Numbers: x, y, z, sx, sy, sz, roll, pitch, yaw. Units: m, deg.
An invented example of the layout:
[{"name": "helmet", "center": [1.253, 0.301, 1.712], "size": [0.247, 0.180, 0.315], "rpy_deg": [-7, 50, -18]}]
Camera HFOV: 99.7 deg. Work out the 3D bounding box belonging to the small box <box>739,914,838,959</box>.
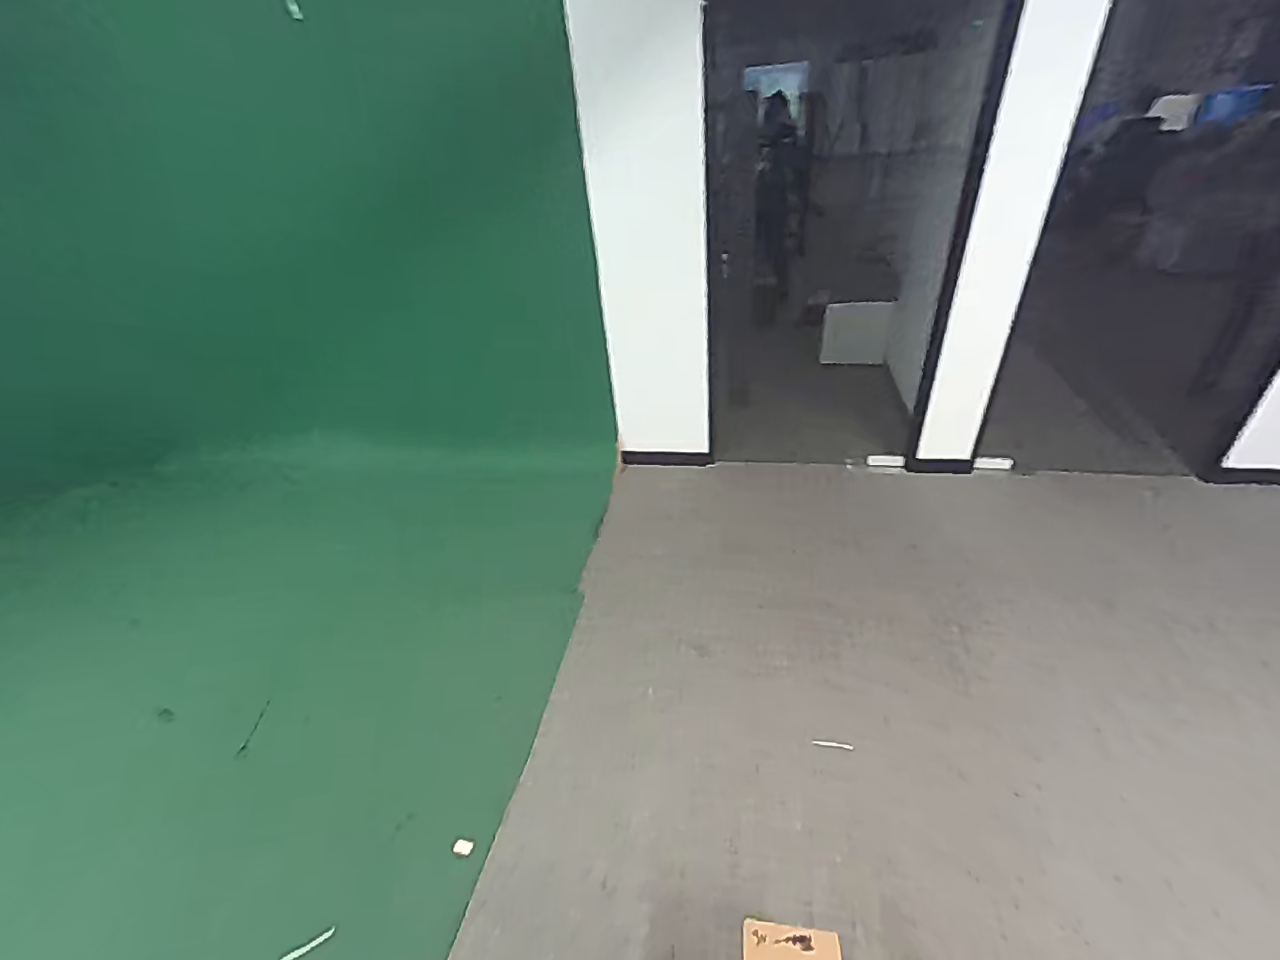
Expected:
[{"name": "small box", "center": [0.256, 0.903, 0.942], "size": [0.168, 0.176, 0.179], "rpy_deg": [1, 36, 10]}]
